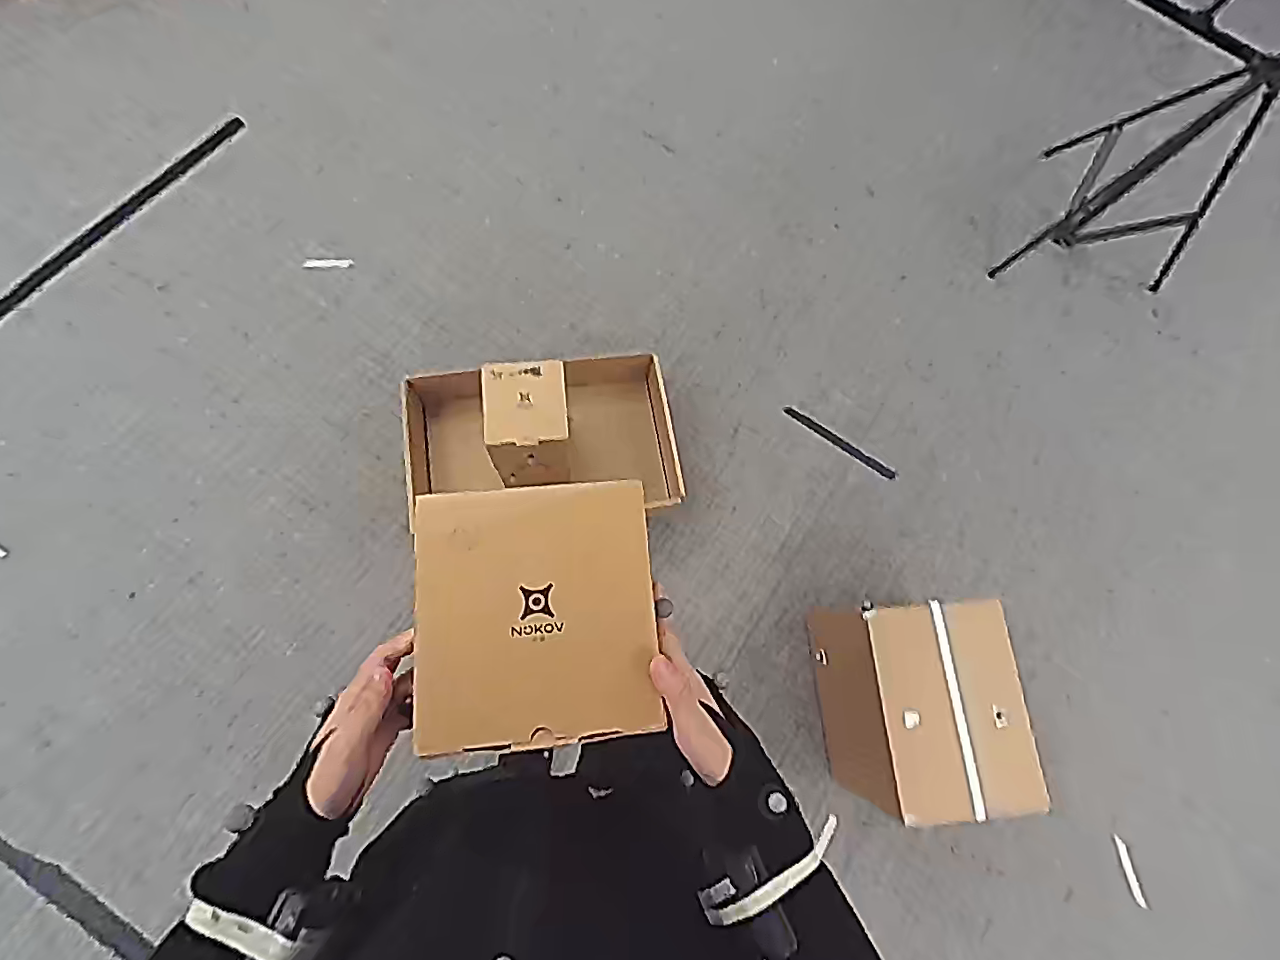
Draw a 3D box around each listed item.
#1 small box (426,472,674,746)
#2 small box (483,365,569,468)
[{"bbox_3d":[-0.072,0.103,0.455,0.168,0.176,0.179,-6,77,-5],"label":"small box"},{"bbox_3d":[-0.239,-0.129,1.158,0.168,0.176,0.179,-4,75,-8],"label":"small box"}]
